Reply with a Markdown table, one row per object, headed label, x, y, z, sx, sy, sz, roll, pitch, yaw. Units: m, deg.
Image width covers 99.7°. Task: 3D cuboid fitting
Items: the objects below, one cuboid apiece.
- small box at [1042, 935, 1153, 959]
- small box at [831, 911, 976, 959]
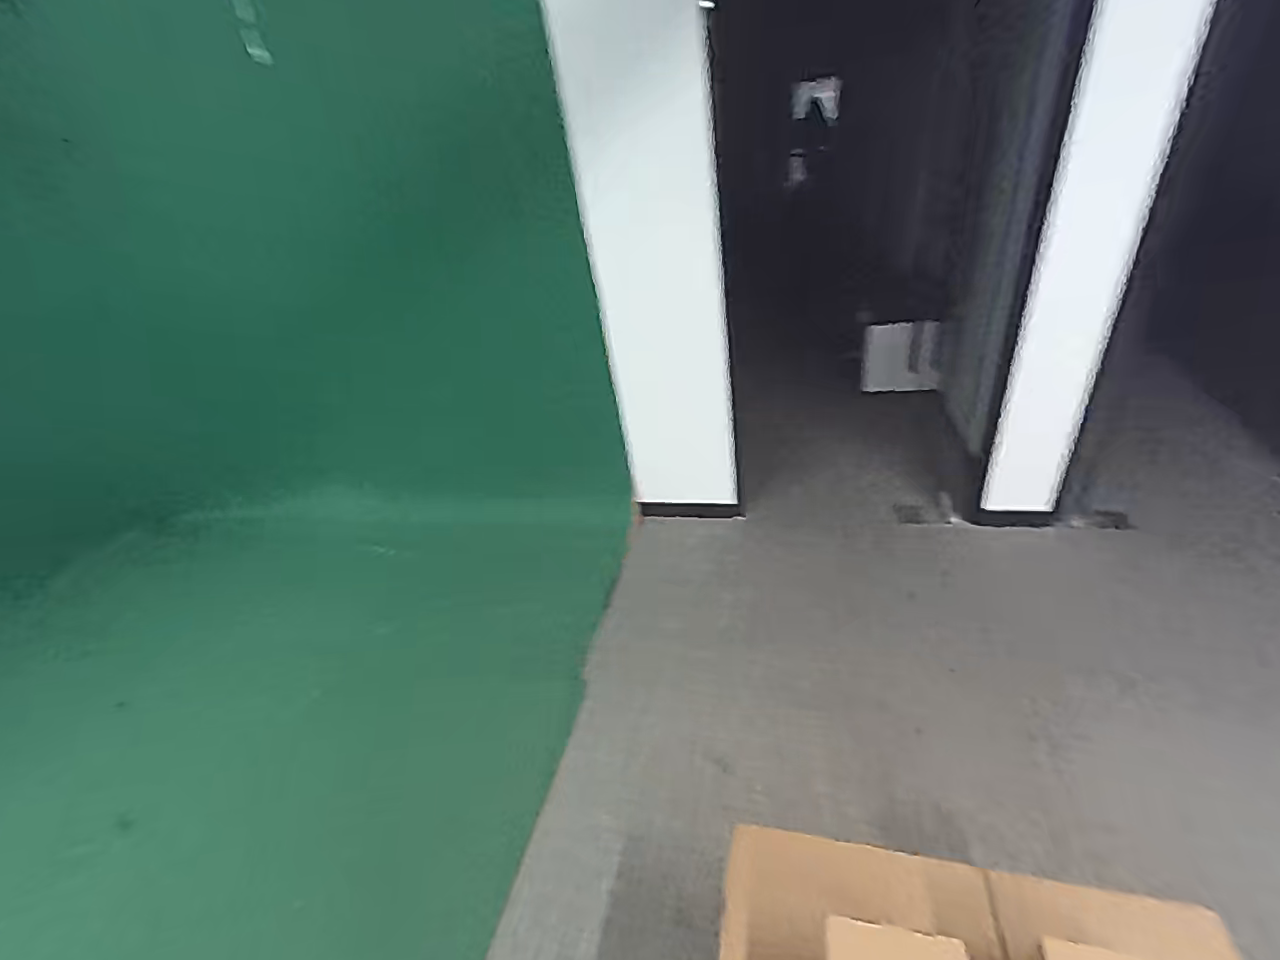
| label | x | y | z | sx | sy | sz | roll | pitch | yaw |
| --- | --- | --- | --- | --- | --- | --- | --- | --- | --- |
| small box | 0.573 | 0.671 | 0.612 | 0.179 | 0.176 | 0.168 | 1 | 33 | 20 |
| small box | 0.325 | 0.684 | 0.664 | 0.168 | 0.176 | 0.179 | -1 | 32 | 16 |
